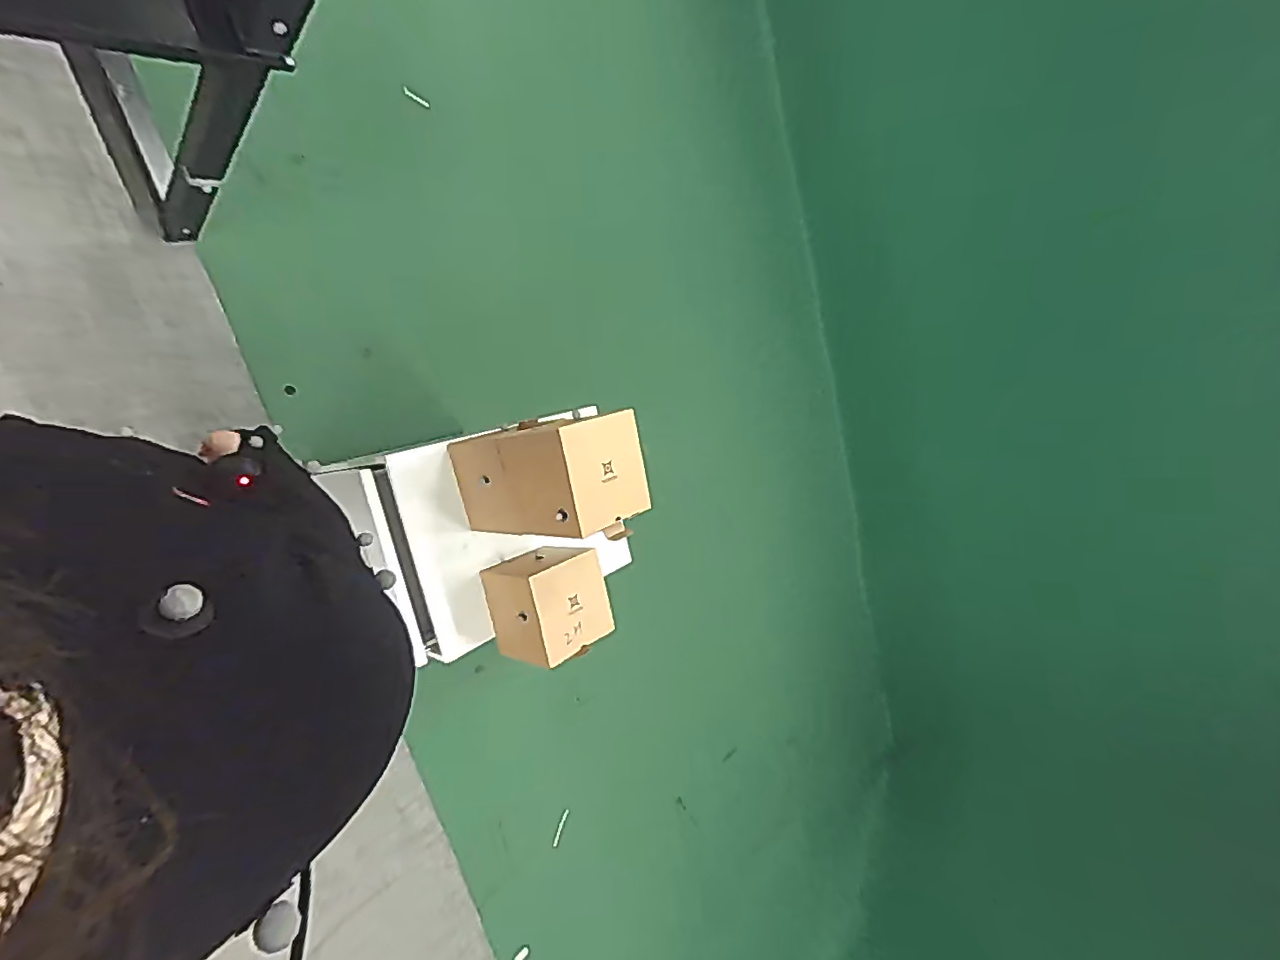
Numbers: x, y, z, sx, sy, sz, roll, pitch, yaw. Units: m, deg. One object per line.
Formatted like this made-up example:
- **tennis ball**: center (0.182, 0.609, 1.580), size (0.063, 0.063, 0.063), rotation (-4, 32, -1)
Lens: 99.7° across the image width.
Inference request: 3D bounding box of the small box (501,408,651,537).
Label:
- **small box**: center (-0.108, -0.014, 0.903), size (0.168, 0.176, 0.179), rotation (-22, 106, -45)

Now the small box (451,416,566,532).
- **small box**: center (-0.228, -0.010, 1.014), size (0.168, 0.176, 0.179), rotation (-24, 106, -44)

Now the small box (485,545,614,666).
- **small box**: center (-0.179, 0.232, 1.051), size (0.168, 0.176, 0.179), rotation (-19, 101, -44)
